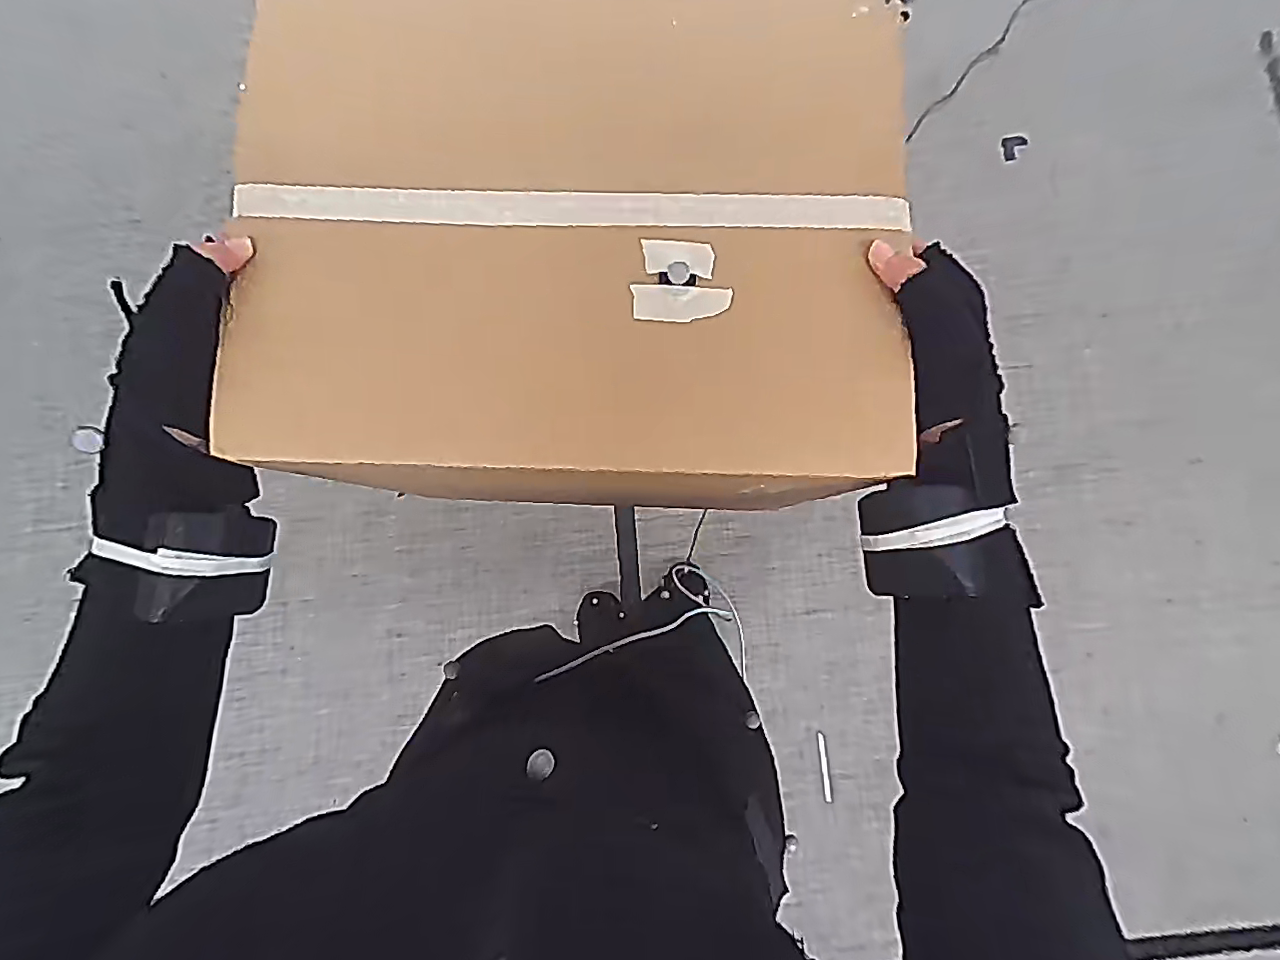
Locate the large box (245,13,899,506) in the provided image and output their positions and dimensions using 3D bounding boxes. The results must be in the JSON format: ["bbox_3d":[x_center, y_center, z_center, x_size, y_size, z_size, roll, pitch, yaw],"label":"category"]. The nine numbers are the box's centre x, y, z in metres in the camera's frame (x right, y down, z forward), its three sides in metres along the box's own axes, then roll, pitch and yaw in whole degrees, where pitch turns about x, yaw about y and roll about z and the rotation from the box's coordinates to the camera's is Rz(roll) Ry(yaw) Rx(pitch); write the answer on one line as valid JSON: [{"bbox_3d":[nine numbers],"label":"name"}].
[{"bbox_3d":[-0.041,-0.140,0.490,0.408,0.320,0.320,1,85,0],"label":"large box"}]
